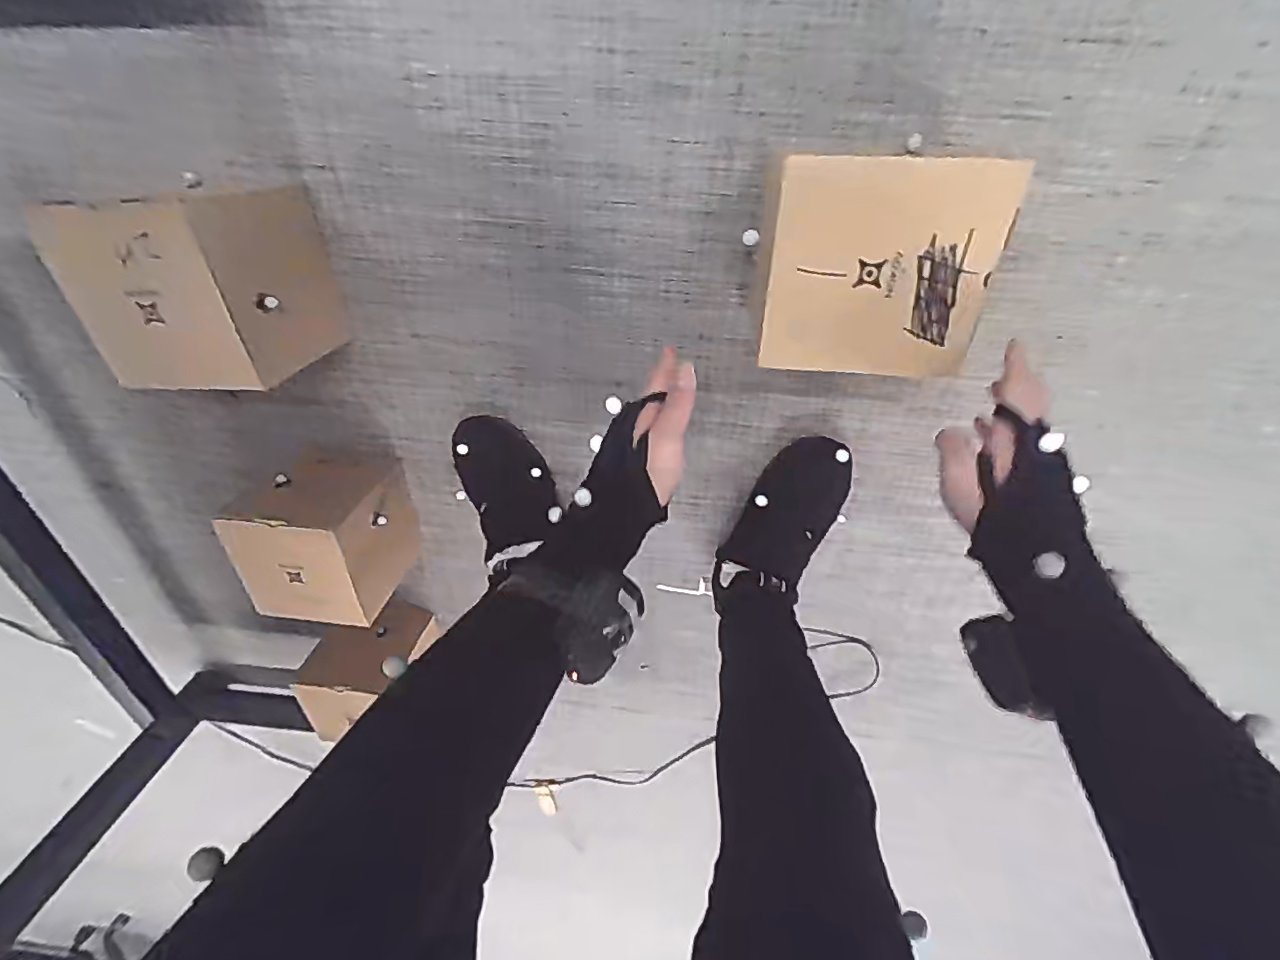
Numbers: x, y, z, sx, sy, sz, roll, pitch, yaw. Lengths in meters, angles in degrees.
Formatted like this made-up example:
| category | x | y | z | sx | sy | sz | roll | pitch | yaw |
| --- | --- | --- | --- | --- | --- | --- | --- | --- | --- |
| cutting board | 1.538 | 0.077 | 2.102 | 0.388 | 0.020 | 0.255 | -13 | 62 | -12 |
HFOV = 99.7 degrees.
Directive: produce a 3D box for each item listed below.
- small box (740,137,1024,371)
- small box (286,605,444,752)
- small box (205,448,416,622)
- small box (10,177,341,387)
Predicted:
| category | x | y | z | sx | sy | sz | roll | pitch | yaw |
| --- | --- | --- | --- | --- | --- | --- | --- | --- | --- |
| small box | 0.190 | -0.211 | 0.492 | 0.179 | 0.176 | 0.168 | 5 | 123 | 6 |
| small box | -0.463 | 0.340 | 0.946 | 0.168 | 0.176 | 0.179 | 4 | 123 | 5 |
| small box | -0.444 | 0.071 | 0.764 | 0.168 | 0.176 | 0.179 | 6 | 125 | 5 |
| small box | -0.458 | -0.214 | 0.575 | 0.168 | 0.176 | 0.179 | 2 | 124 | 6 |
